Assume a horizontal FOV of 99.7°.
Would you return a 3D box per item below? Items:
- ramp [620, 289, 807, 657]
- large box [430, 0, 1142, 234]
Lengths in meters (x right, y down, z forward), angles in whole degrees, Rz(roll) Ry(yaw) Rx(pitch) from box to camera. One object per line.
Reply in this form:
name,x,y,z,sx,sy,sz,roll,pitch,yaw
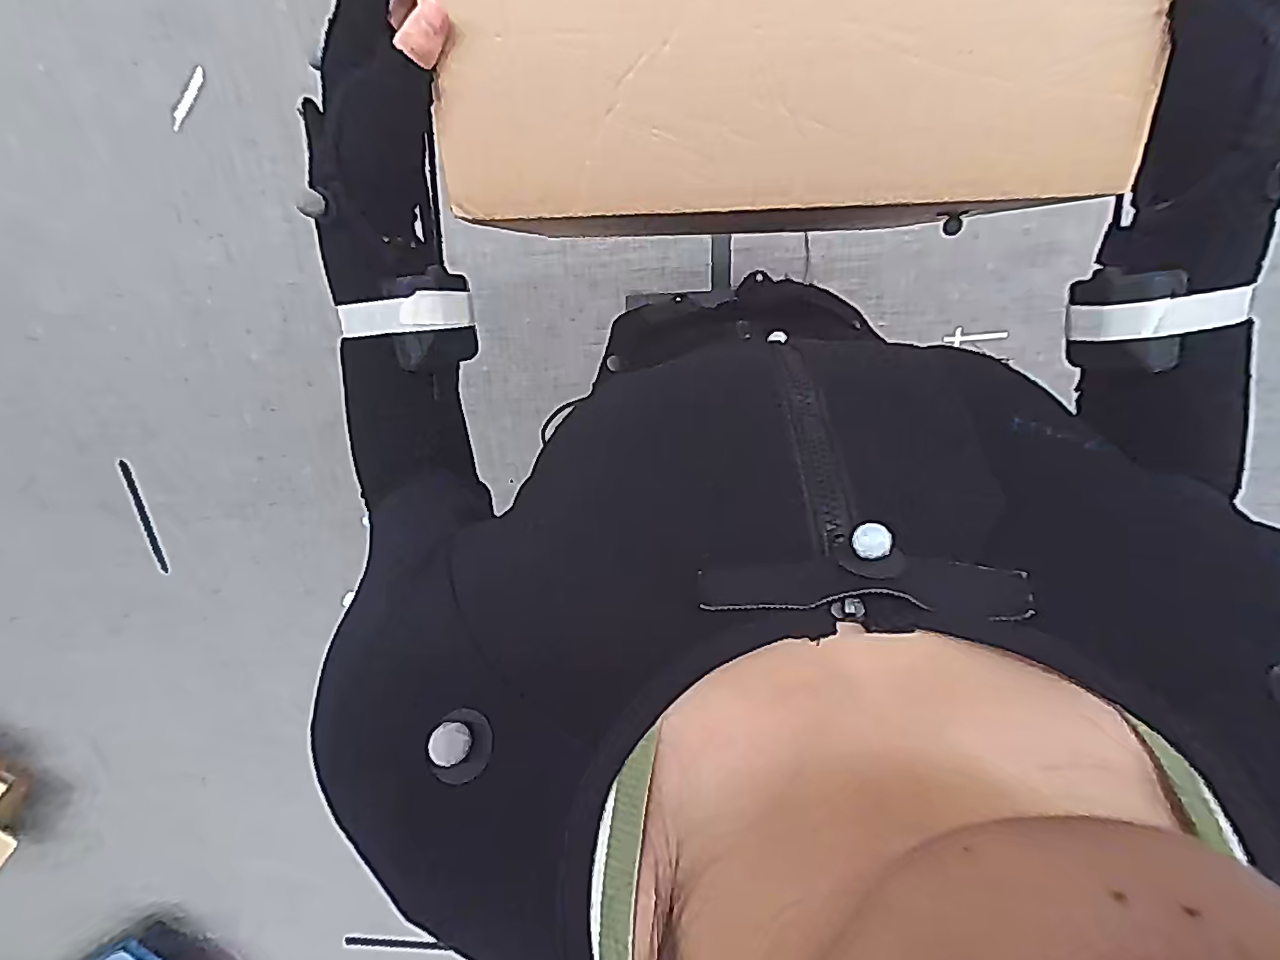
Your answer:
ramp,0.204,0.009,1.477,0.509,0.206,0.991,-3,108,6
large box,0.082,-0.370,0.418,0.408,0.320,0.320,-1,112,1
